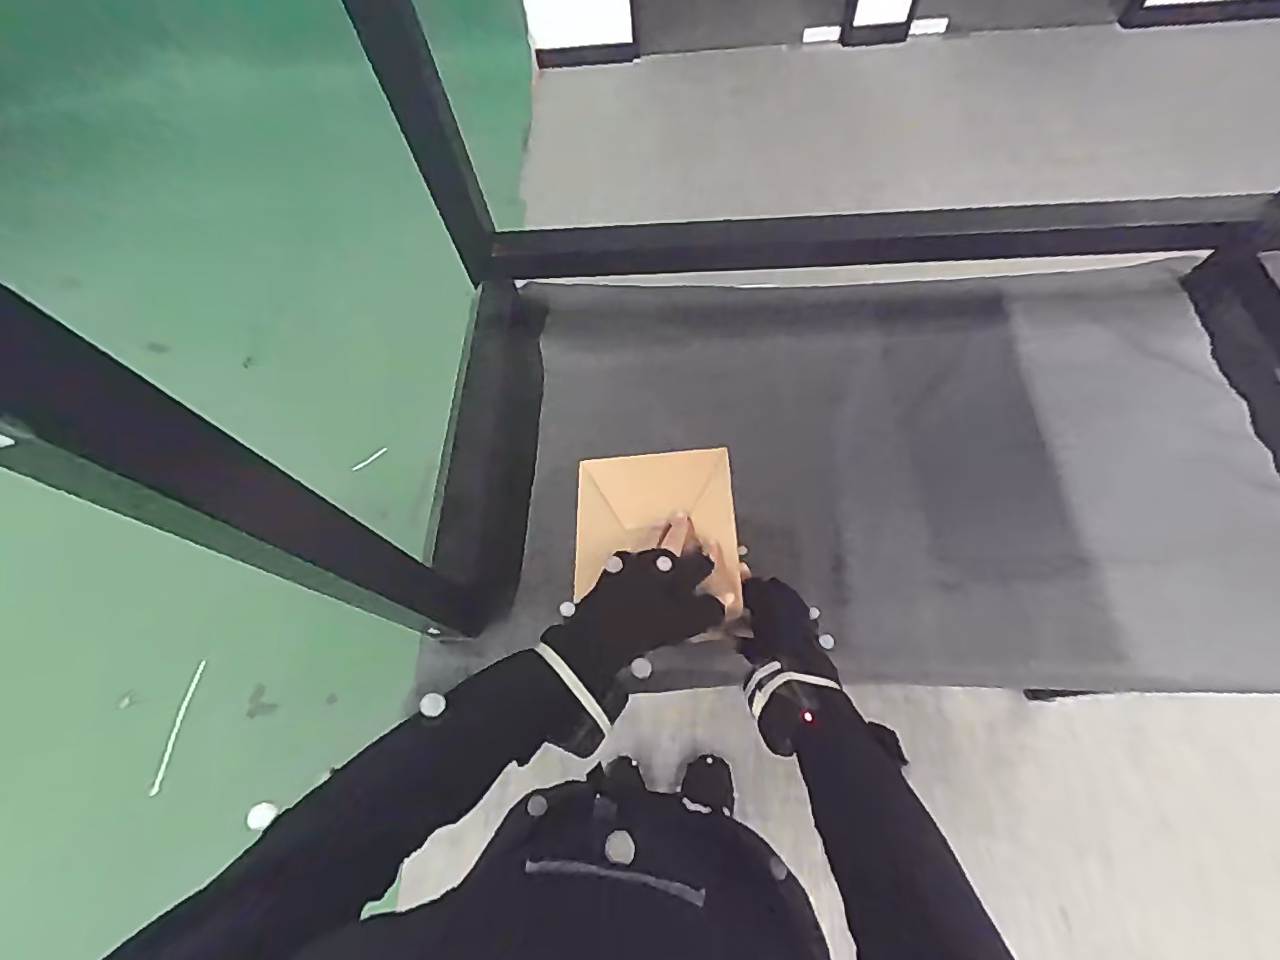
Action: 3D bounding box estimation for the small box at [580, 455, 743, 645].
[{"bbox_3d":[0.028,0.086,0.634,0.168,0.176,0.179,-5,62,6],"label":"small box"}]
